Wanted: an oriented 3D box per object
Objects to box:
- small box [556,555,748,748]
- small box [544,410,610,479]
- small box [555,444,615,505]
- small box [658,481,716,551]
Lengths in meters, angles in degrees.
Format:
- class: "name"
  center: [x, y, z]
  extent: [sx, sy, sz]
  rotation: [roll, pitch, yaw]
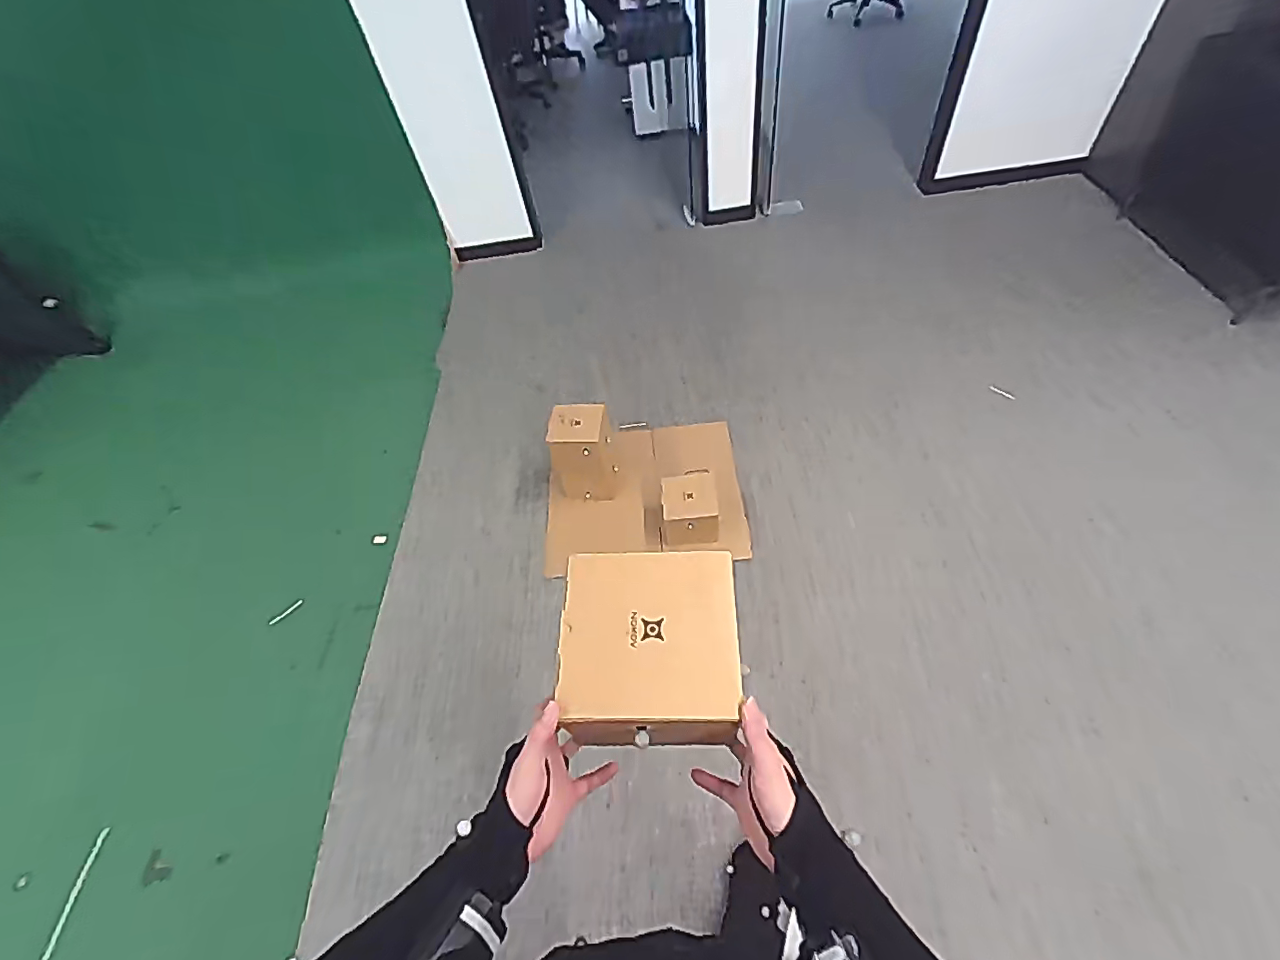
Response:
- class: "small box"
  center: [0.017, 0.192, 0.595]
  extent: [0.179, 0.176, 0.168]
  rotation: [-2, 57, 5]
- class: "small box"
  center: [-0.204, -0.116, 1.807]
  extent: [0.179, 0.176, 0.168]
  rotation: [1, 53, 9]
- class: "small box"
  center: [-0.189, -0.021, 1.942]
  extent: [0.179, 0.176, 0.168]
  rotation: [1, 53, 8]
- class: "small box"
  center: [0.157, 0.123, 1.789]
  extent: [0.179, 0.176, 0.168]
  rotation: [-5, 53, 5]
